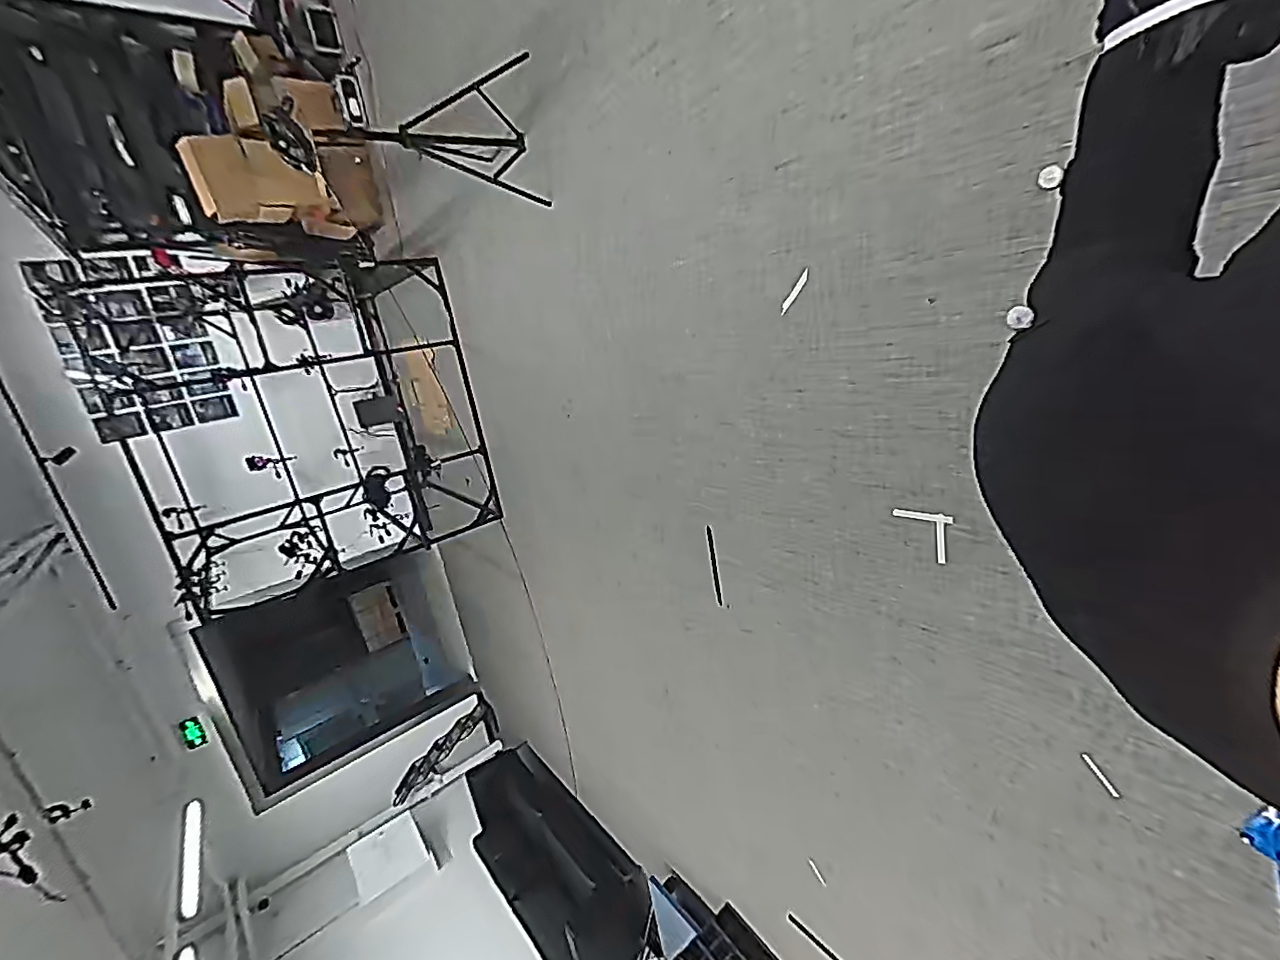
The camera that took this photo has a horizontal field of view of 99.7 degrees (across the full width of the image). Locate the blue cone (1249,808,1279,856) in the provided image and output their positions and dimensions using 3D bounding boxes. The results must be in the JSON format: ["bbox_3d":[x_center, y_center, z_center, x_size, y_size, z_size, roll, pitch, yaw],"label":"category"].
[{"bbox_3d":[1.314,0.826,1.038,0.193,0.380,0.192,38,136,39],"label":"blue cone"}]
